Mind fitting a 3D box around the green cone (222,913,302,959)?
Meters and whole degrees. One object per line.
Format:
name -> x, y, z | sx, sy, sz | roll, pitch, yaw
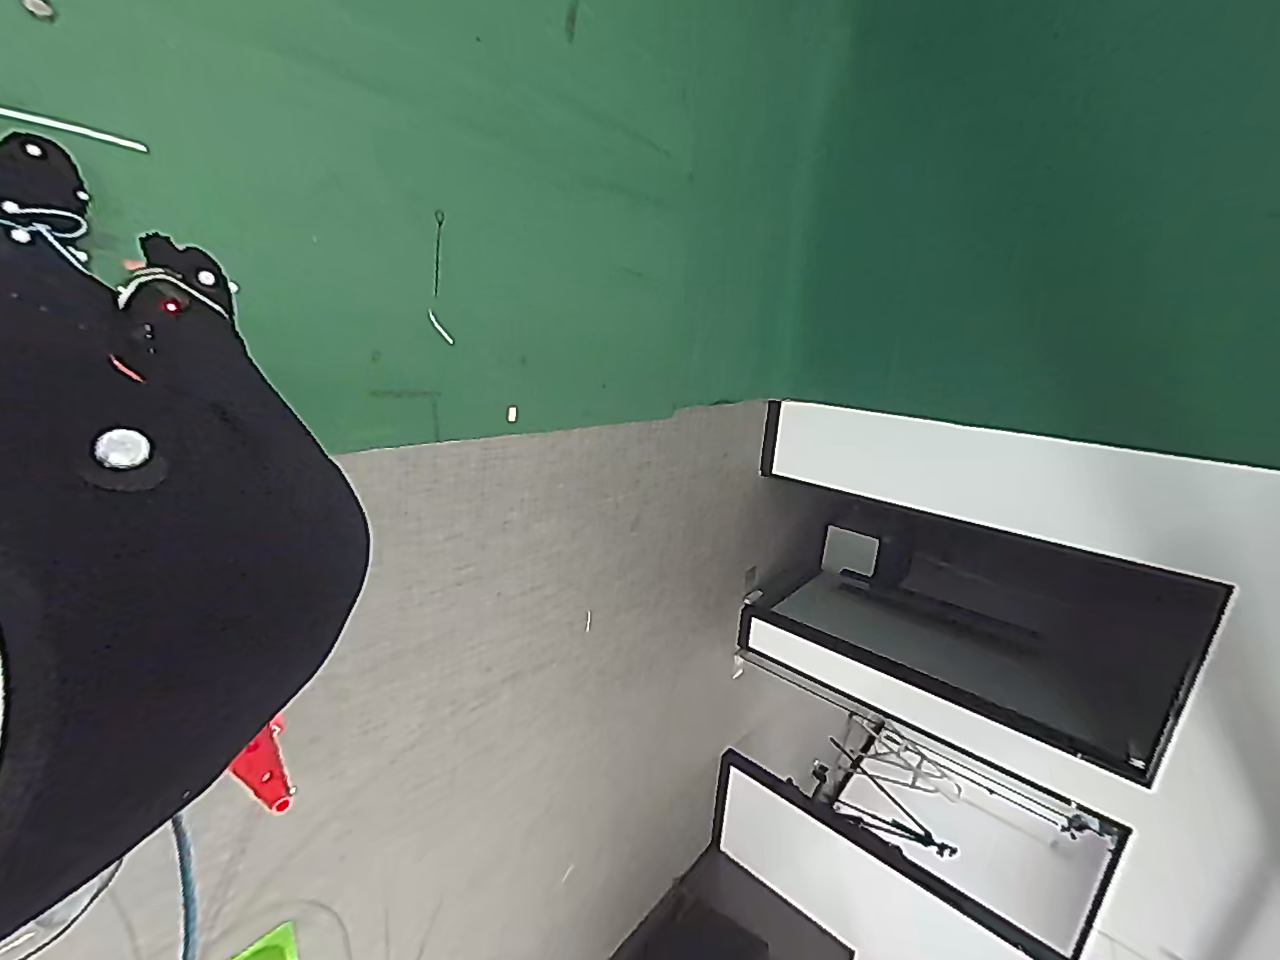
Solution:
green cone -> -1.004, 1.469, 1.506 | 0.202, 0.368, 0.200 | -15, 115, -46
